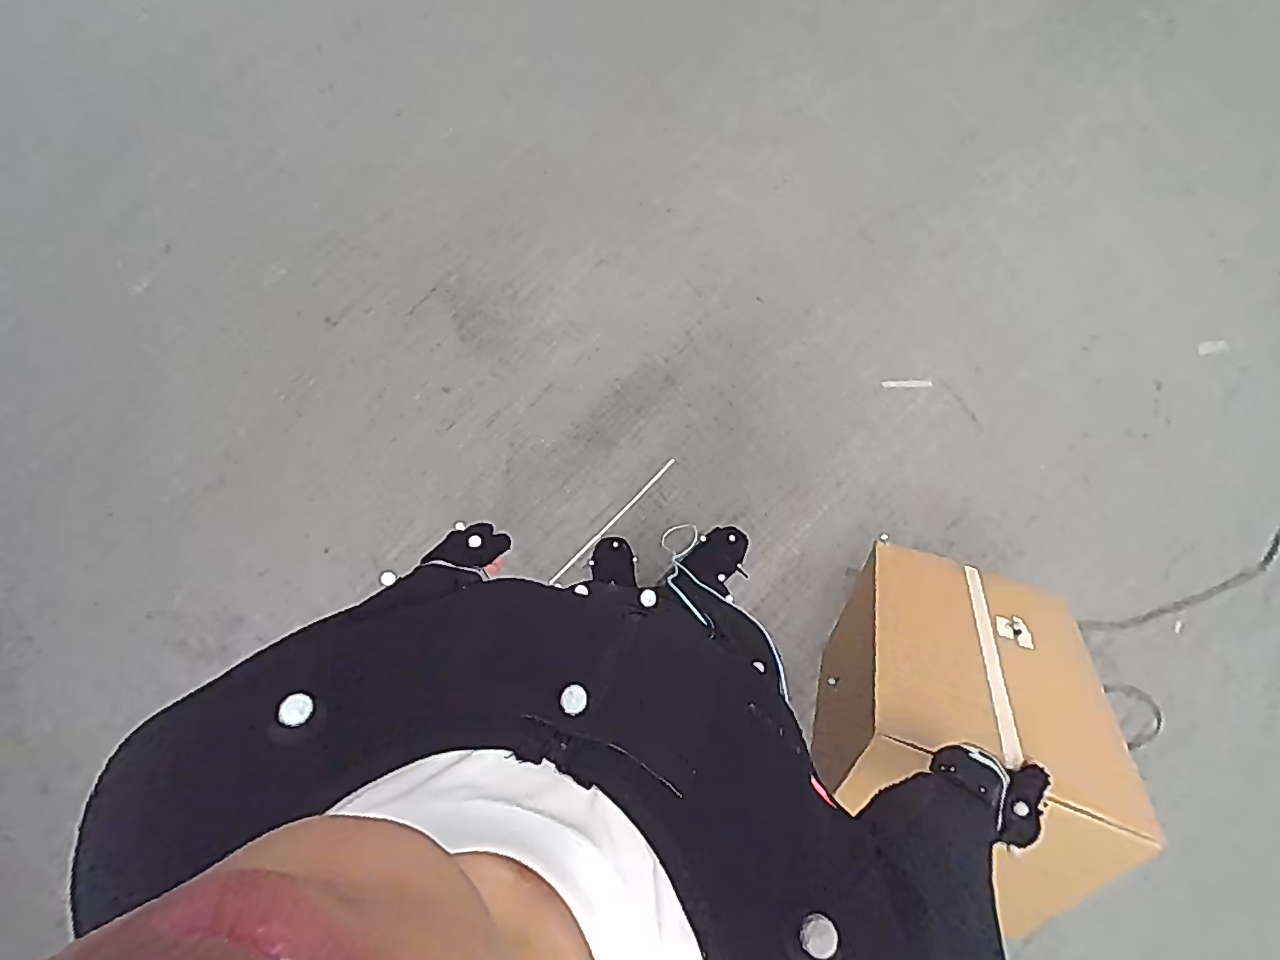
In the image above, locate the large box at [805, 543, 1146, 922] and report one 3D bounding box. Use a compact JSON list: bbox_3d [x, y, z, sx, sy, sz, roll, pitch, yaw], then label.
[{"bbox_3d":[0.480,0.379,0.881,0.320,0.408,0.320,20,126,13],"label":"large box"}]
